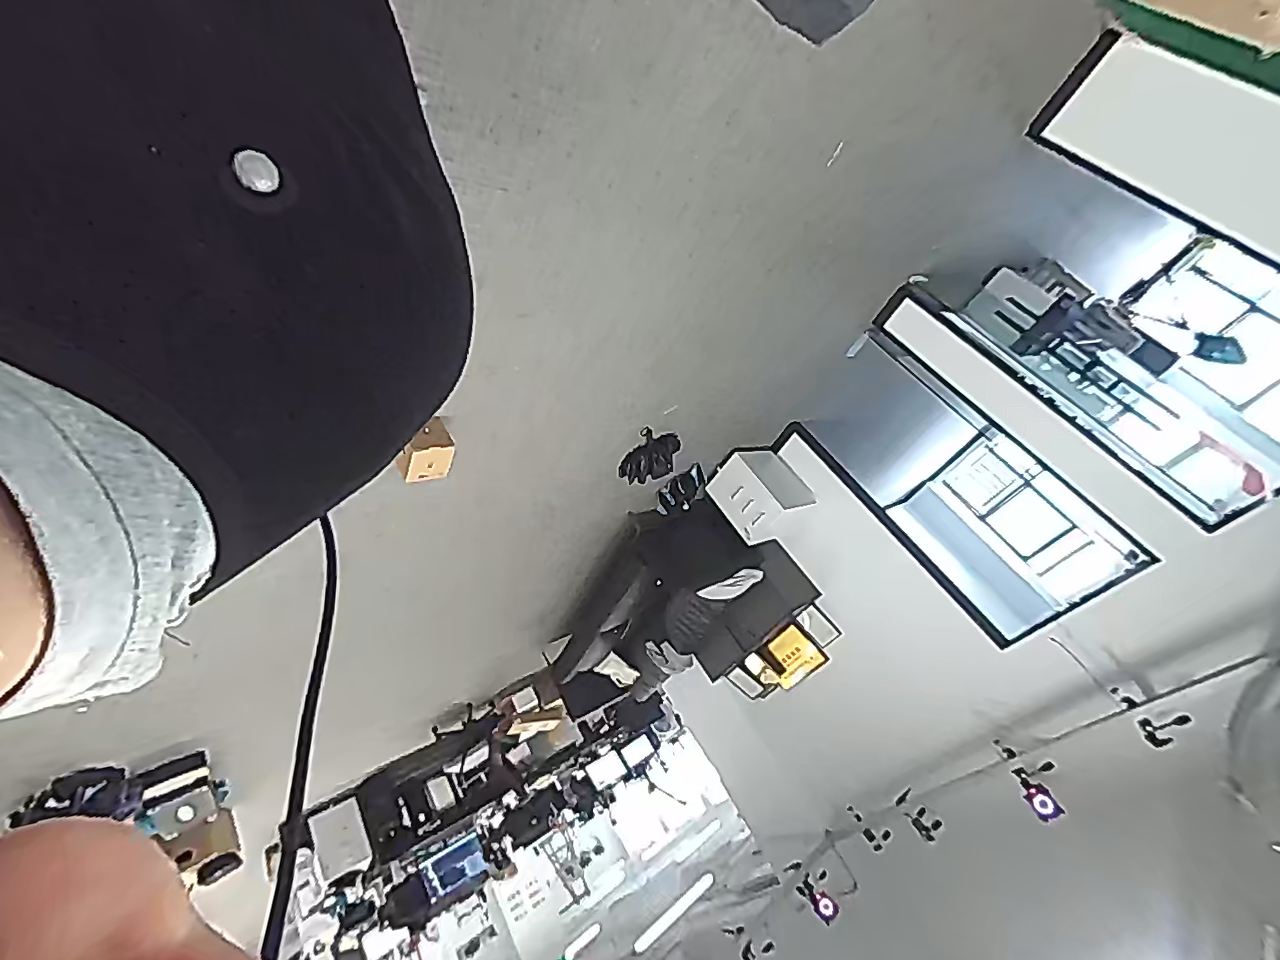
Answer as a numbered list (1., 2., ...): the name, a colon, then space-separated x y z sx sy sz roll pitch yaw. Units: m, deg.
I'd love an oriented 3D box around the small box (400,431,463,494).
1. small box: -0.811 -0.077 2.094 0.168 0.176 0.179 -12 143 -42
